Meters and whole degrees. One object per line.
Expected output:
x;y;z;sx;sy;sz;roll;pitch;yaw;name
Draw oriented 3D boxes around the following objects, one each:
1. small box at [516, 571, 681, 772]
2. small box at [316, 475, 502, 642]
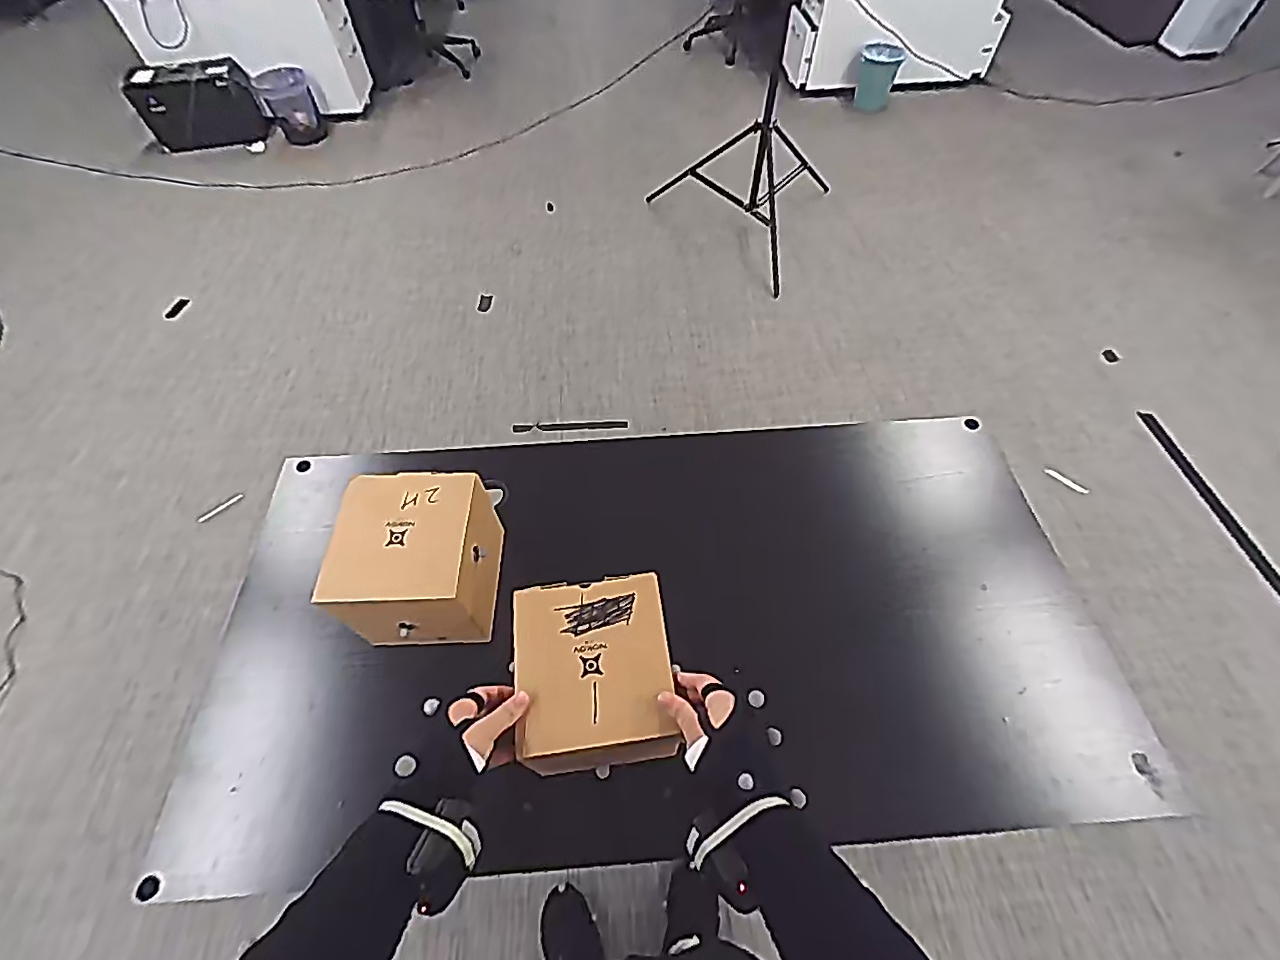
-0.050;0.231;0.643;0.168;0.176;0.179;-8;57;-3;small box
-0.291;0.113;0.728;0.168;0.176;0.179;-2;56;0;small box
